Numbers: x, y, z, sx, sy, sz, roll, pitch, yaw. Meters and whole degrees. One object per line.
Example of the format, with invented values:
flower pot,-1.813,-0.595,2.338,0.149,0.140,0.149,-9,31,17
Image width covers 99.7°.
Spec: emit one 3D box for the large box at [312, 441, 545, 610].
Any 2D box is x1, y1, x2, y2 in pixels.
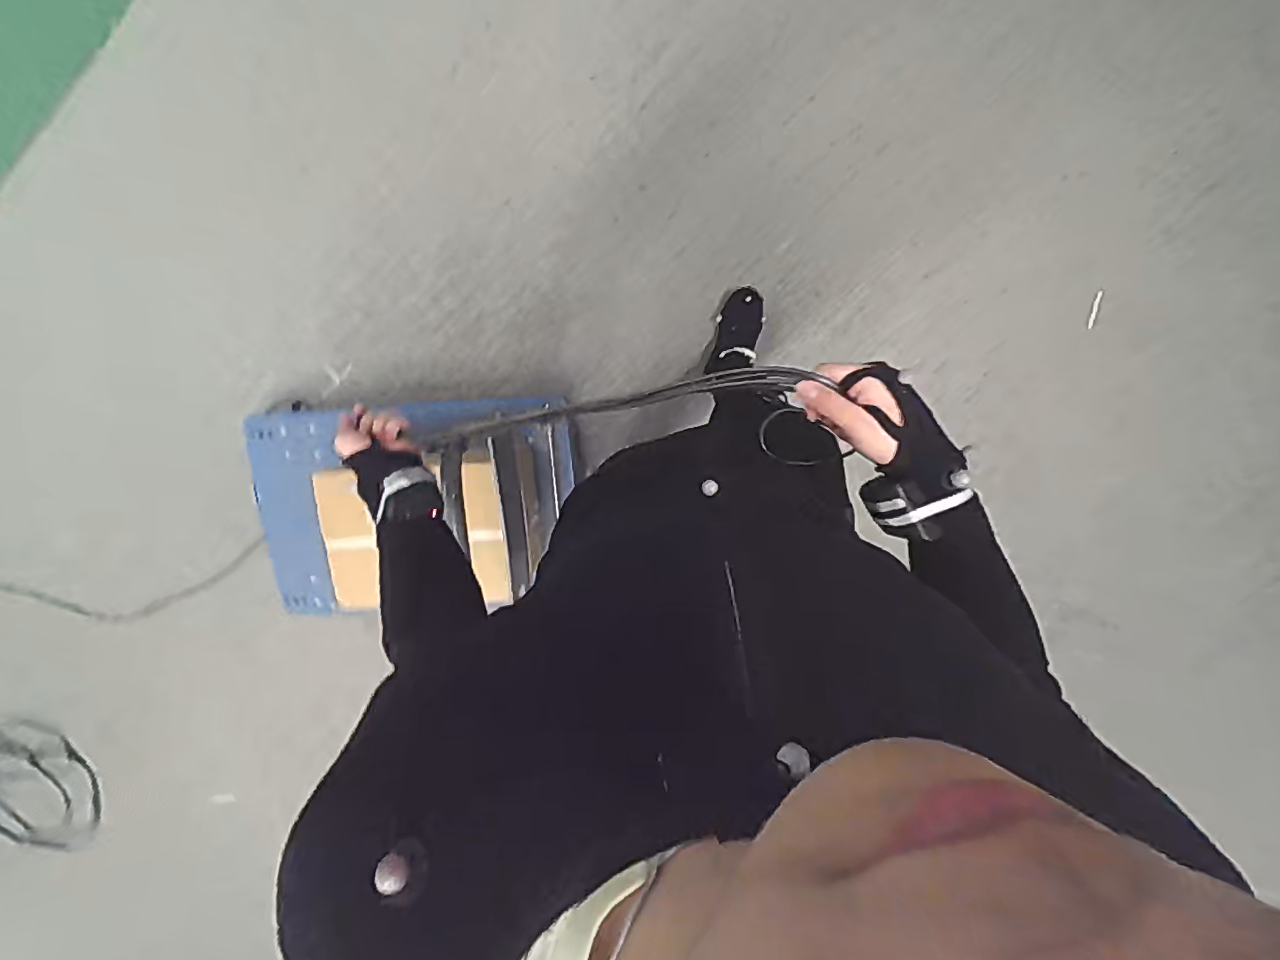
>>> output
large box,-0.474,0.092,1.299,0.408,0.320,0.320,-4,101,4
